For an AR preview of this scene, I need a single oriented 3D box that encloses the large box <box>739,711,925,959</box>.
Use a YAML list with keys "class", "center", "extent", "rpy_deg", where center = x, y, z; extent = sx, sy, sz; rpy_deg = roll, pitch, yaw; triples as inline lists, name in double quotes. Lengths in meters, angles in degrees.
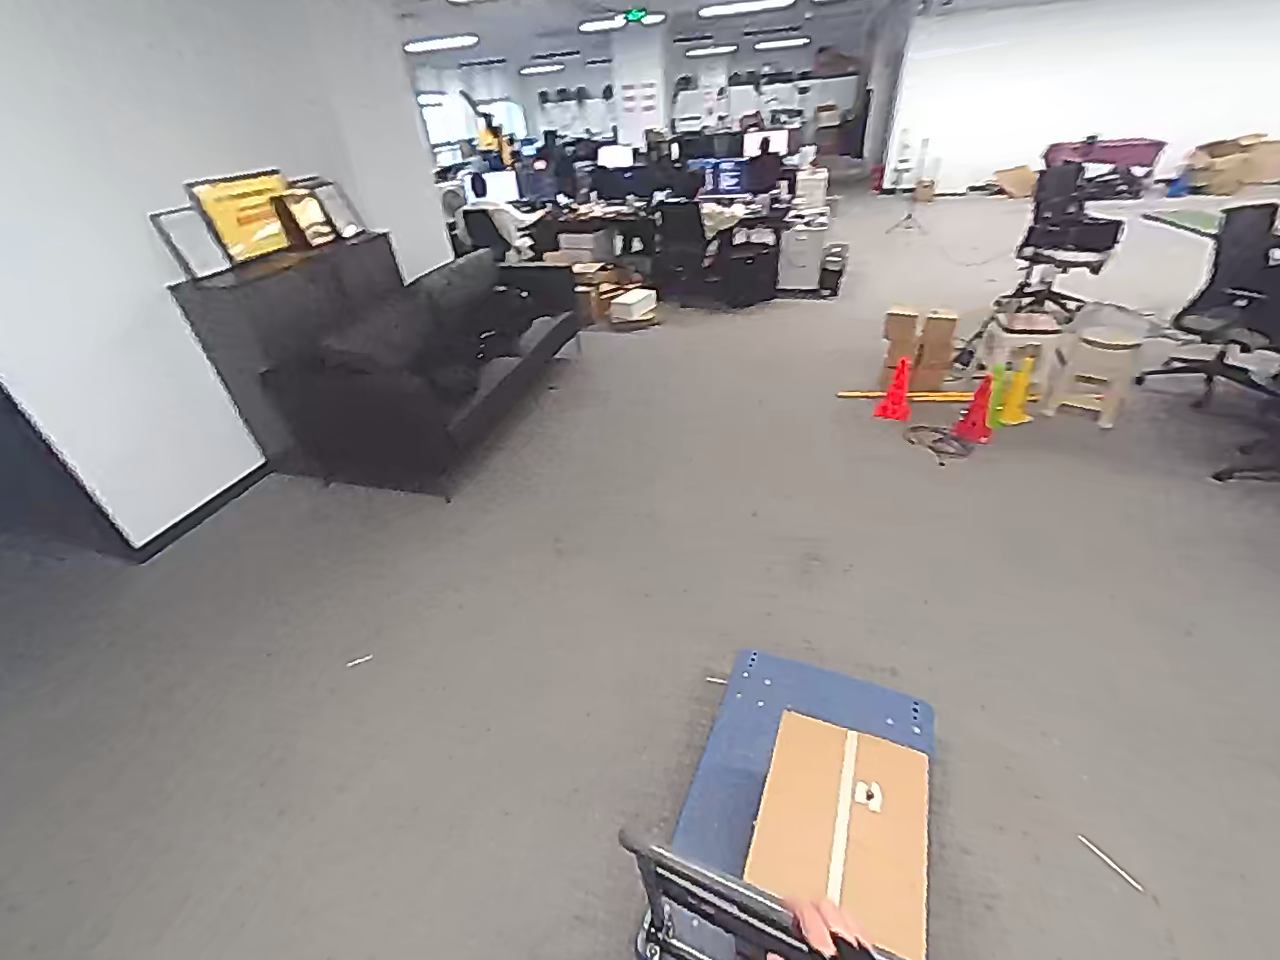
- class: "large box"
  center: [0.411, 0.803, 1.167]
  extent: [0.320, 0.320, 0.408]
  rpy_deg: [12, 38, 21]
